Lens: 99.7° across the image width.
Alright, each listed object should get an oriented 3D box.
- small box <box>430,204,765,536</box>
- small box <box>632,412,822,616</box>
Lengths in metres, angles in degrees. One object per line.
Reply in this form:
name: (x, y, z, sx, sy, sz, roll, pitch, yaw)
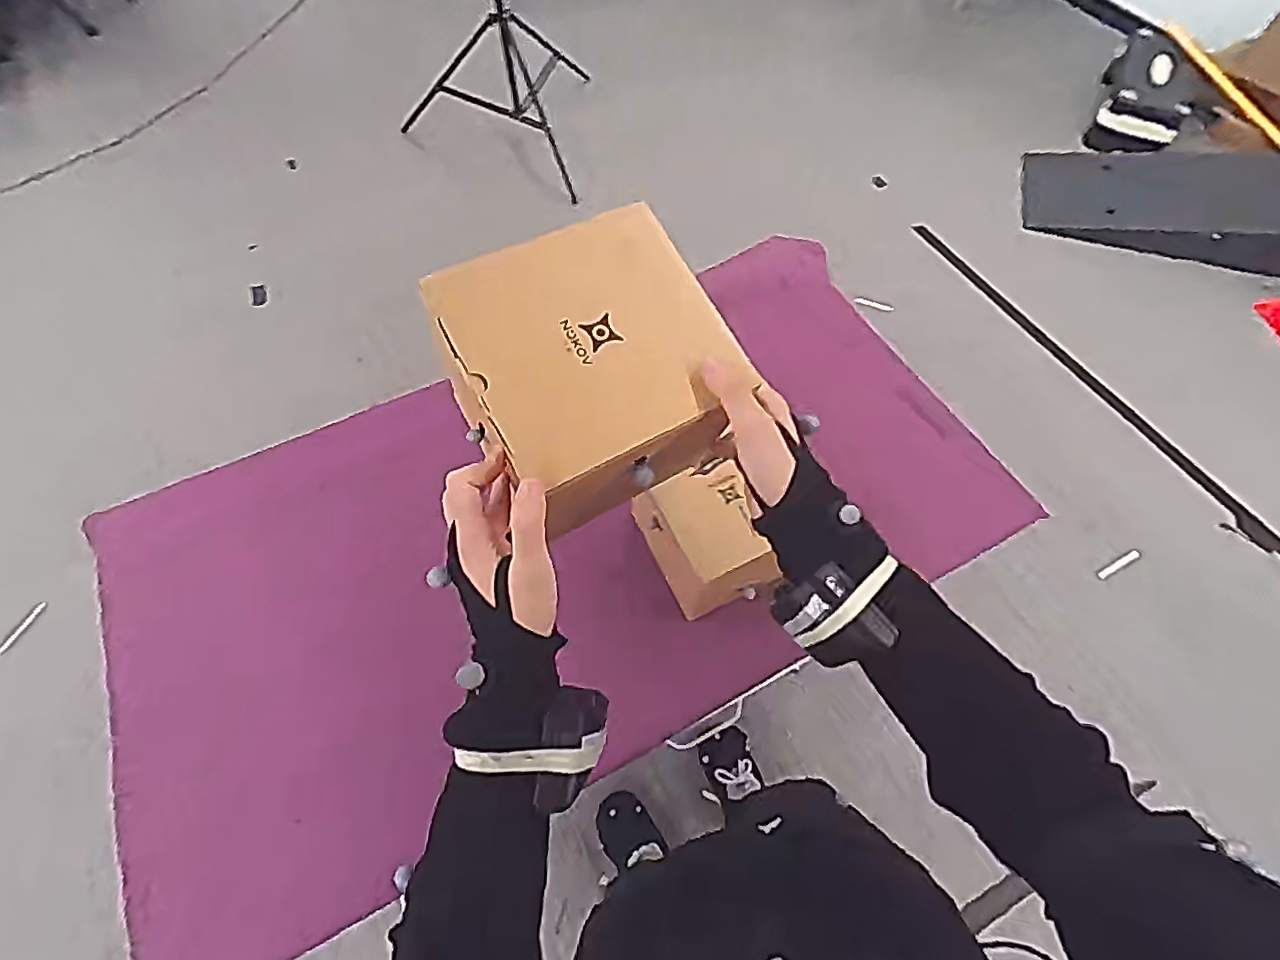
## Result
small box: (-0.038, -0.073, 0.434, 0.179, 0.176, 0.168, -28, 80, -14)
small box: (0.094, 0.048, 0.690, 0.168, 0.176, 0.179, -23, 65, -11)
